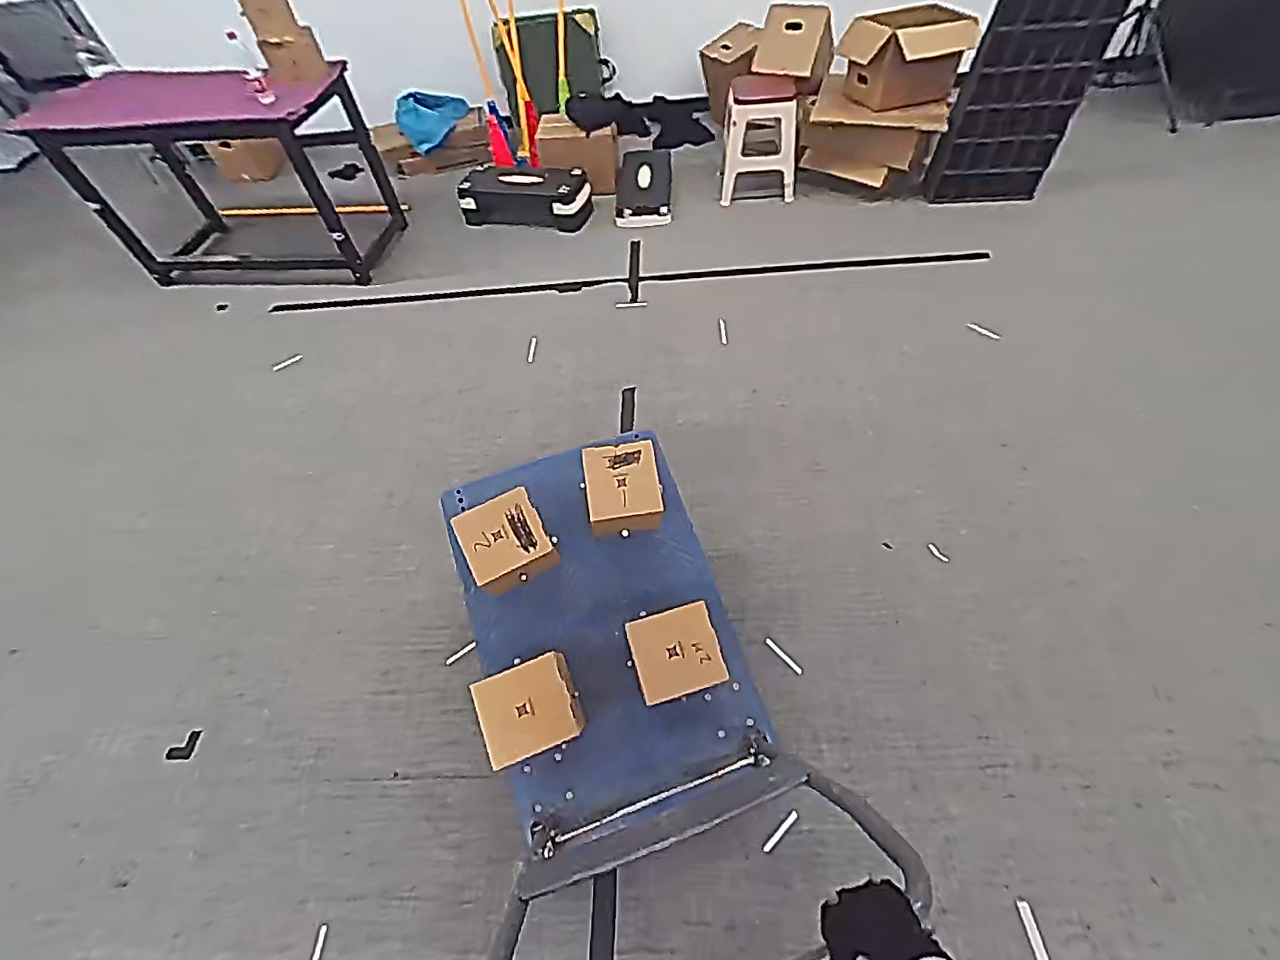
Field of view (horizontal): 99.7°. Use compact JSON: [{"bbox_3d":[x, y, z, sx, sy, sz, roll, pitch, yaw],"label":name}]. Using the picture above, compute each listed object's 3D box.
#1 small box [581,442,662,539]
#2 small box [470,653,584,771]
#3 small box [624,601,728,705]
[{"bbox_3d":[-0.047,0.028,1.287,0.168,0.176,0.179,-8,71,-5],"label":"small box"},{"bbox_3d":[-0.226,0.475,1.120,0.179,0.176,0.168,-21,72,-10],"label":"small box"},{"bbox_3d":[0.071,0.374,1.166,0.179,0.176,0.168,-15,72,-7],"label":"small box"}]
